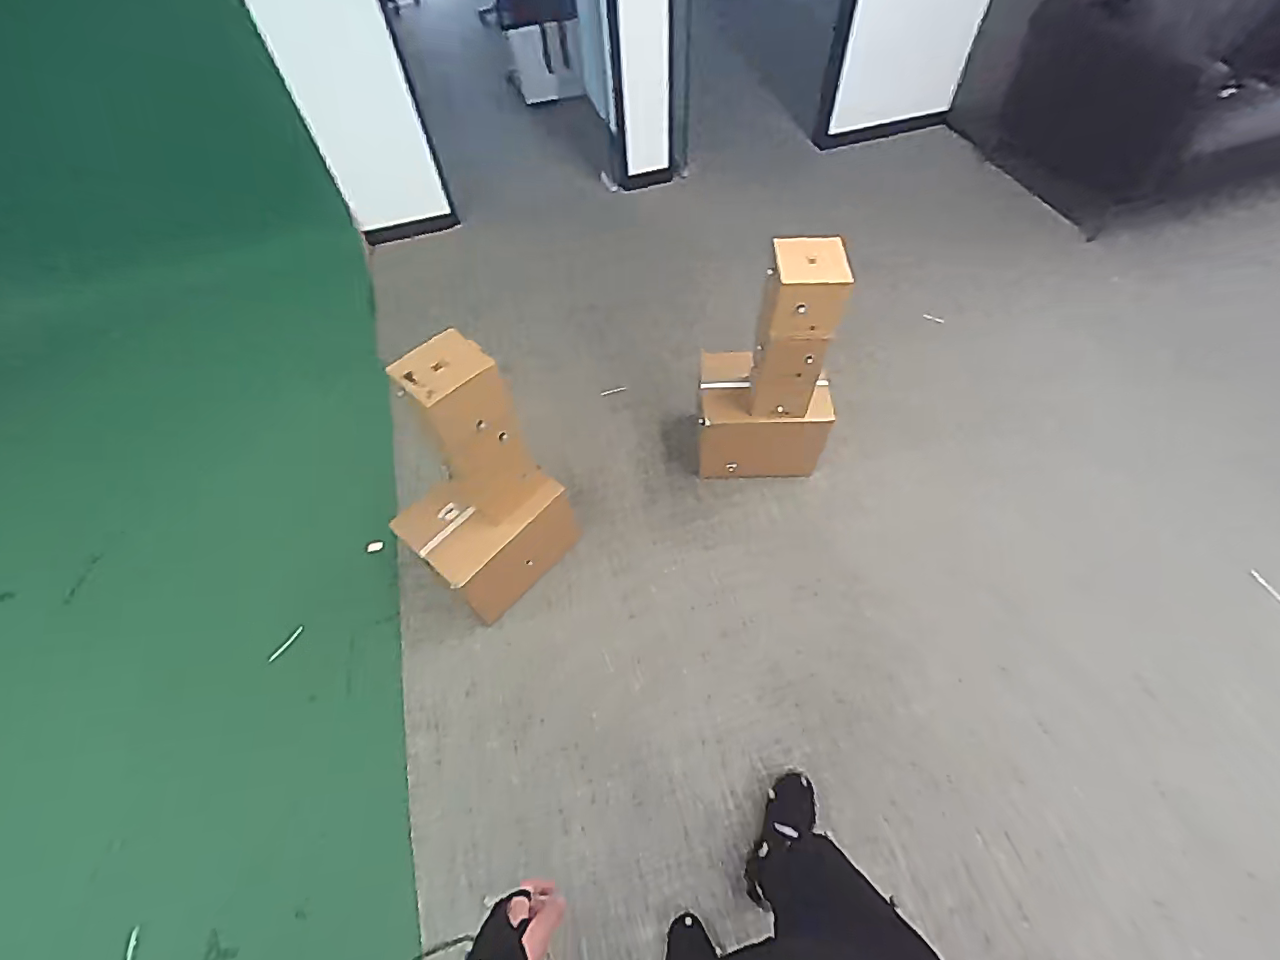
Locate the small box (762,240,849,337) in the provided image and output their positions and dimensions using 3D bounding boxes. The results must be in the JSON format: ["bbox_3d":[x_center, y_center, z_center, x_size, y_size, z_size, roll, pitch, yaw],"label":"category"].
[{"bbox_3d":[0.408,-0.476,1.362,0.168,0.176,0.179,-1,56,2],"label":"small box"}]

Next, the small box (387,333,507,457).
[{"bbox_3d":[-0.417,-0.187,1.206,0.168,0.176,0.179,38,65,25],"label":"small box"}]

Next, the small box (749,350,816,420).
[{"bbox_3d":[0.424,-0.303,1.636,0.168,0.176,0.179,1,58,4],"label":"small box"}]

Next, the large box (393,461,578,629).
[{"bbox_3d":[-0.449,0.171,1.660,0.320,0.320,0.408,33,65,24],"label":"large box"}]

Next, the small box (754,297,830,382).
[{"bbox_3d":[0.414,-0.387,1.497,0.168,0.176,0.179,0,57,2],"label":"small box"}]
